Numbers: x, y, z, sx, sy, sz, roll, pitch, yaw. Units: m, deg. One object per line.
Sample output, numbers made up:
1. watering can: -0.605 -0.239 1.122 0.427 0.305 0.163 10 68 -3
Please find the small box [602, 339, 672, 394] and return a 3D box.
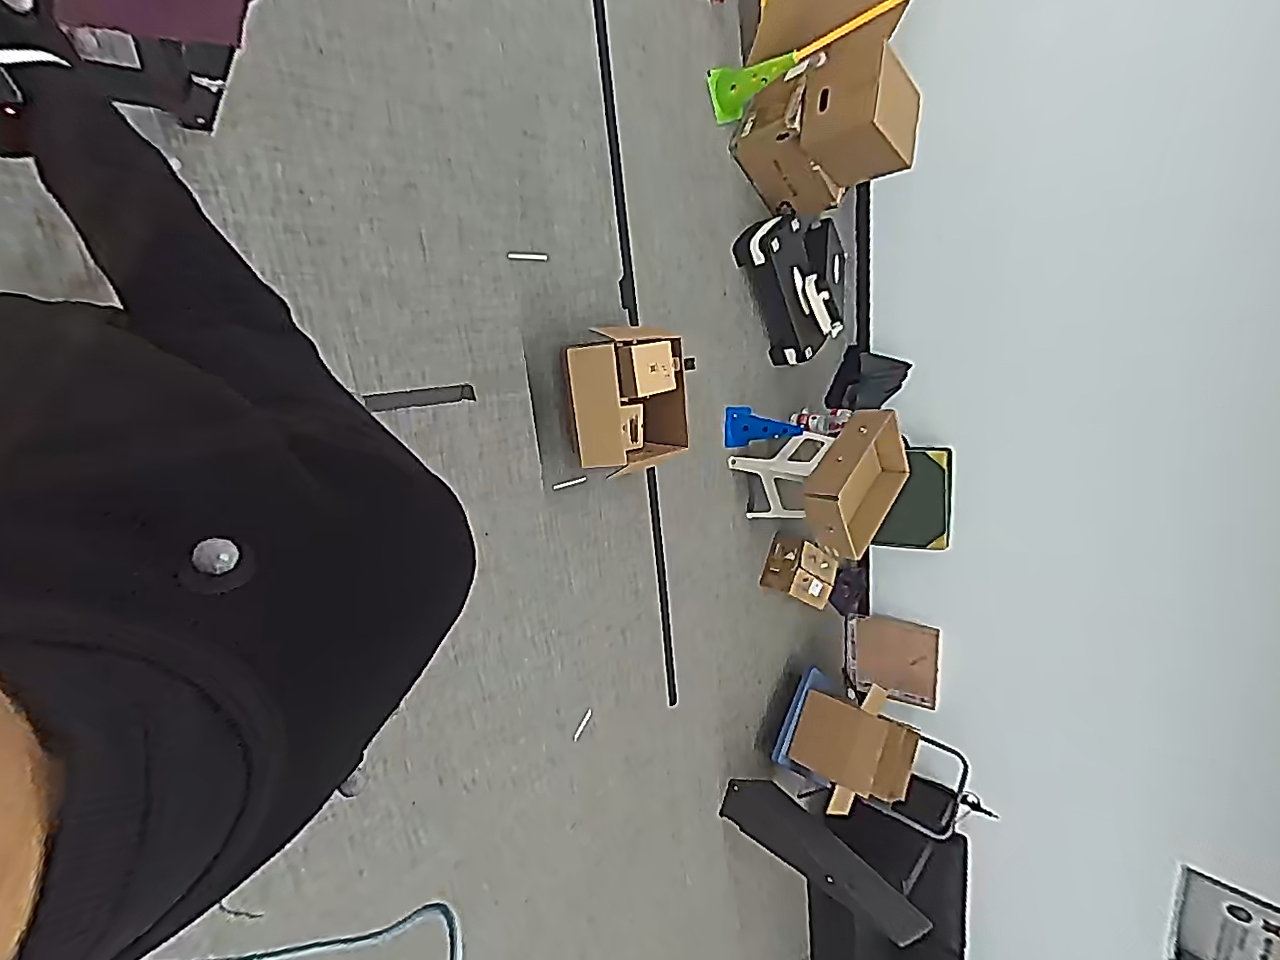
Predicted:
1. small box: -0.016 -0.383 1.835 0.179 0.176 0.168 -19 110 -39
